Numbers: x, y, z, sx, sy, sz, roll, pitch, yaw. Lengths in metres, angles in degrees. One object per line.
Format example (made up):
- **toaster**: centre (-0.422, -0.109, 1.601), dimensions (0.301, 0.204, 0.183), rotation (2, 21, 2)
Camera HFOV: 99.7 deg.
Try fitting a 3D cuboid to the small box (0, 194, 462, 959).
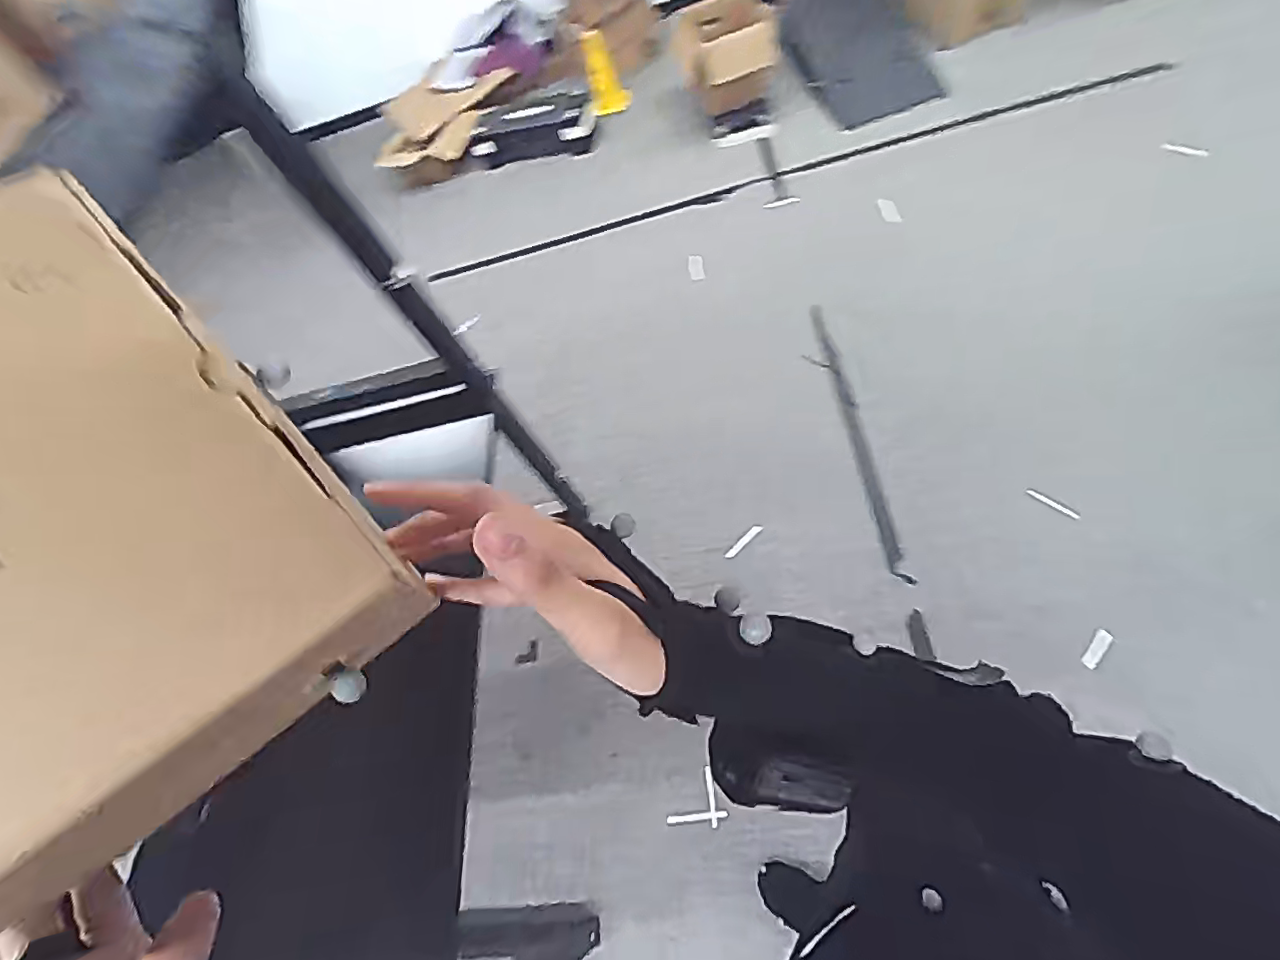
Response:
- **small box**: centre (-0.191, 0.041, 0.209), dimensions (0.179, 0.176, 0.168), rotation (-39, 88, -23)
